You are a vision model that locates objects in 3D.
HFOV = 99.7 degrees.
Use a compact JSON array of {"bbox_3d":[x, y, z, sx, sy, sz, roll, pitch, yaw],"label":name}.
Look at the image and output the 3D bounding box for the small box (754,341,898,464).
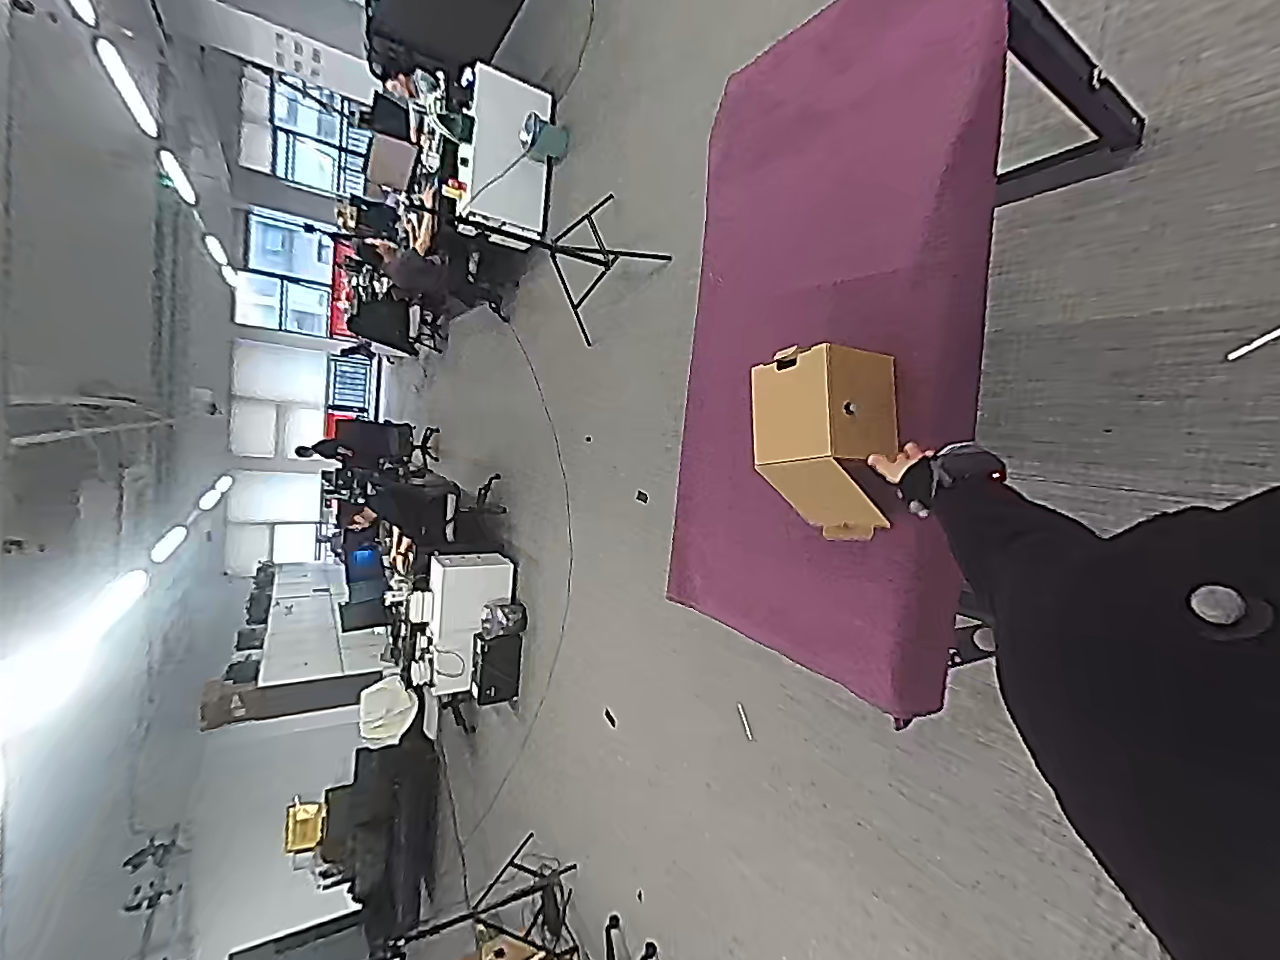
[{"bbox_3d":[0.312,-0.118,0.912,0.168,0.176,0.179,-6,83,58],"label":"small box"}]
